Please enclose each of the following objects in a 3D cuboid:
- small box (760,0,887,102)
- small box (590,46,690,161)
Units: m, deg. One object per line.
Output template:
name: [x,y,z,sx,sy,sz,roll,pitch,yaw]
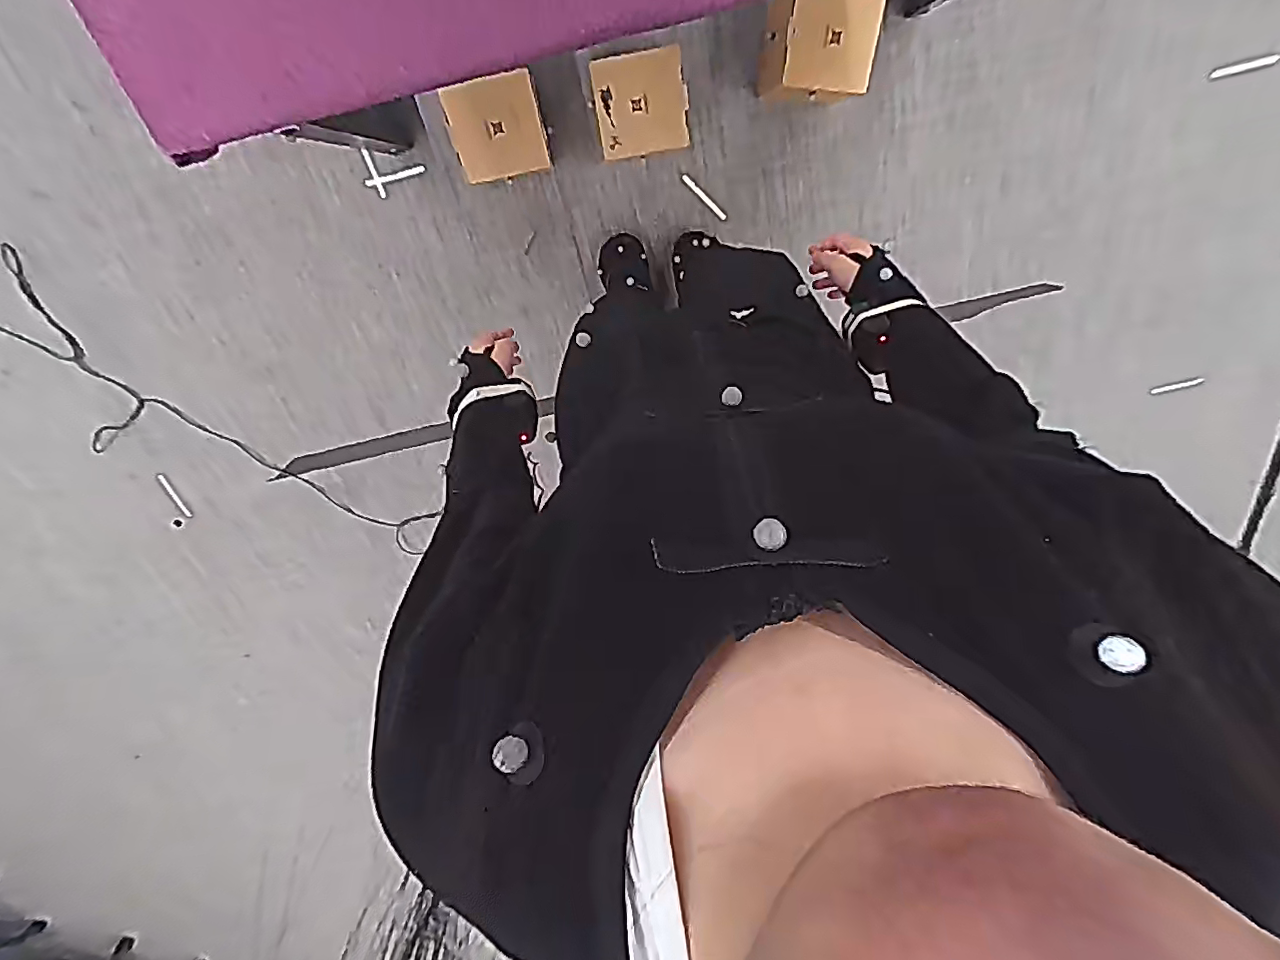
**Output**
small box: [0.359,-0.875,1.087,0.179,0.176,0.168,2,119,-5]
small box: [-0.004,-0.764,1.111,0.179,0.176,0.168,-10,119,0]
